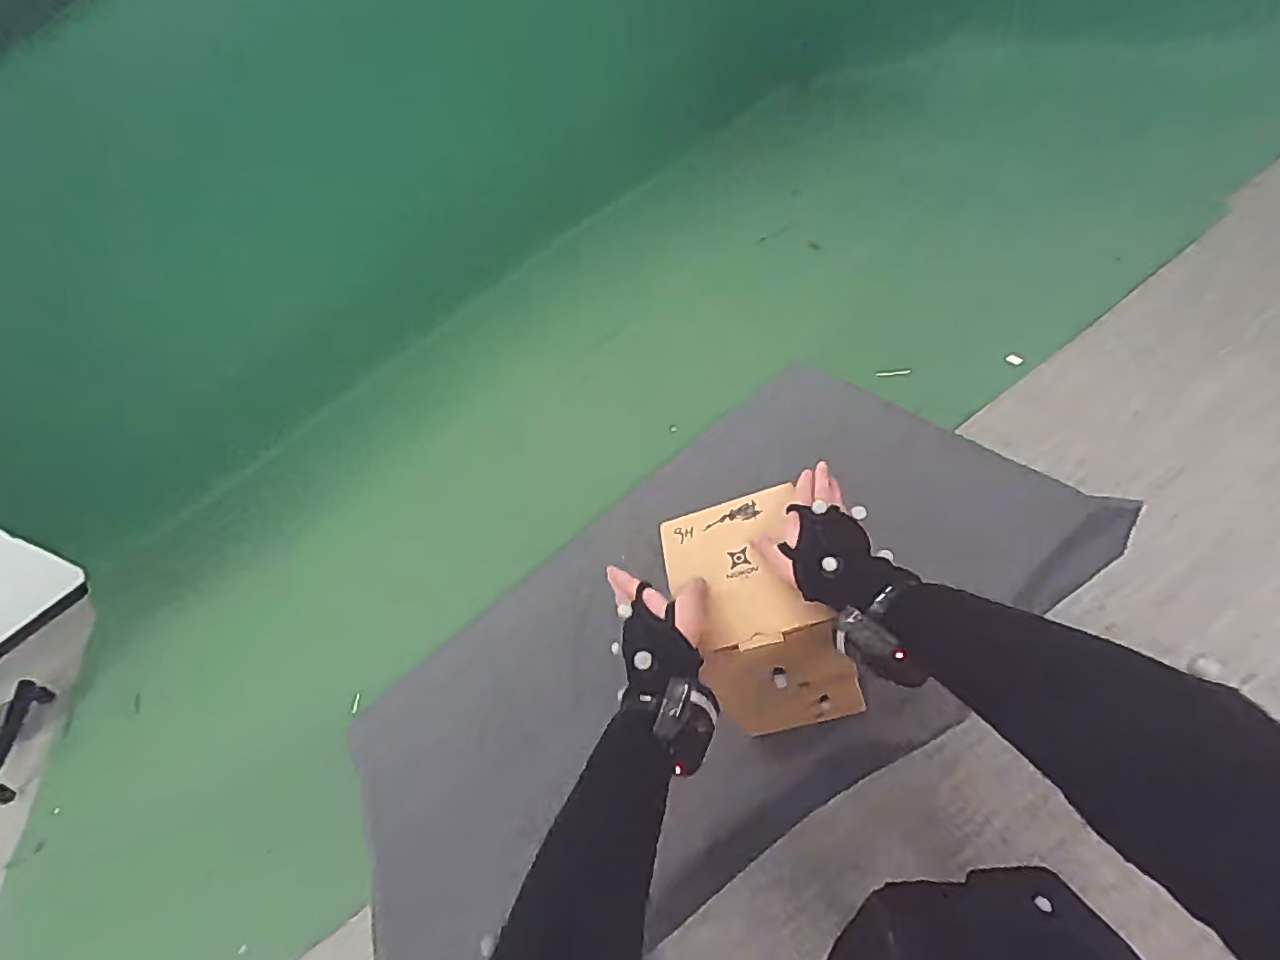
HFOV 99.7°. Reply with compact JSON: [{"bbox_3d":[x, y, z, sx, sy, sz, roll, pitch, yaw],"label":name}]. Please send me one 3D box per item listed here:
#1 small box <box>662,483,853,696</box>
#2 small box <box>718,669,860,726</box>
[{"bbox_3d":[0.139,0.138,0.636,0.168,0.176,0.179,-18,48,13],"label":"small box"},{"bbox_3d":[0.196,0.229,0.761,0.168,0.176,0.179,-19,46,13],"label":"small box"}]
